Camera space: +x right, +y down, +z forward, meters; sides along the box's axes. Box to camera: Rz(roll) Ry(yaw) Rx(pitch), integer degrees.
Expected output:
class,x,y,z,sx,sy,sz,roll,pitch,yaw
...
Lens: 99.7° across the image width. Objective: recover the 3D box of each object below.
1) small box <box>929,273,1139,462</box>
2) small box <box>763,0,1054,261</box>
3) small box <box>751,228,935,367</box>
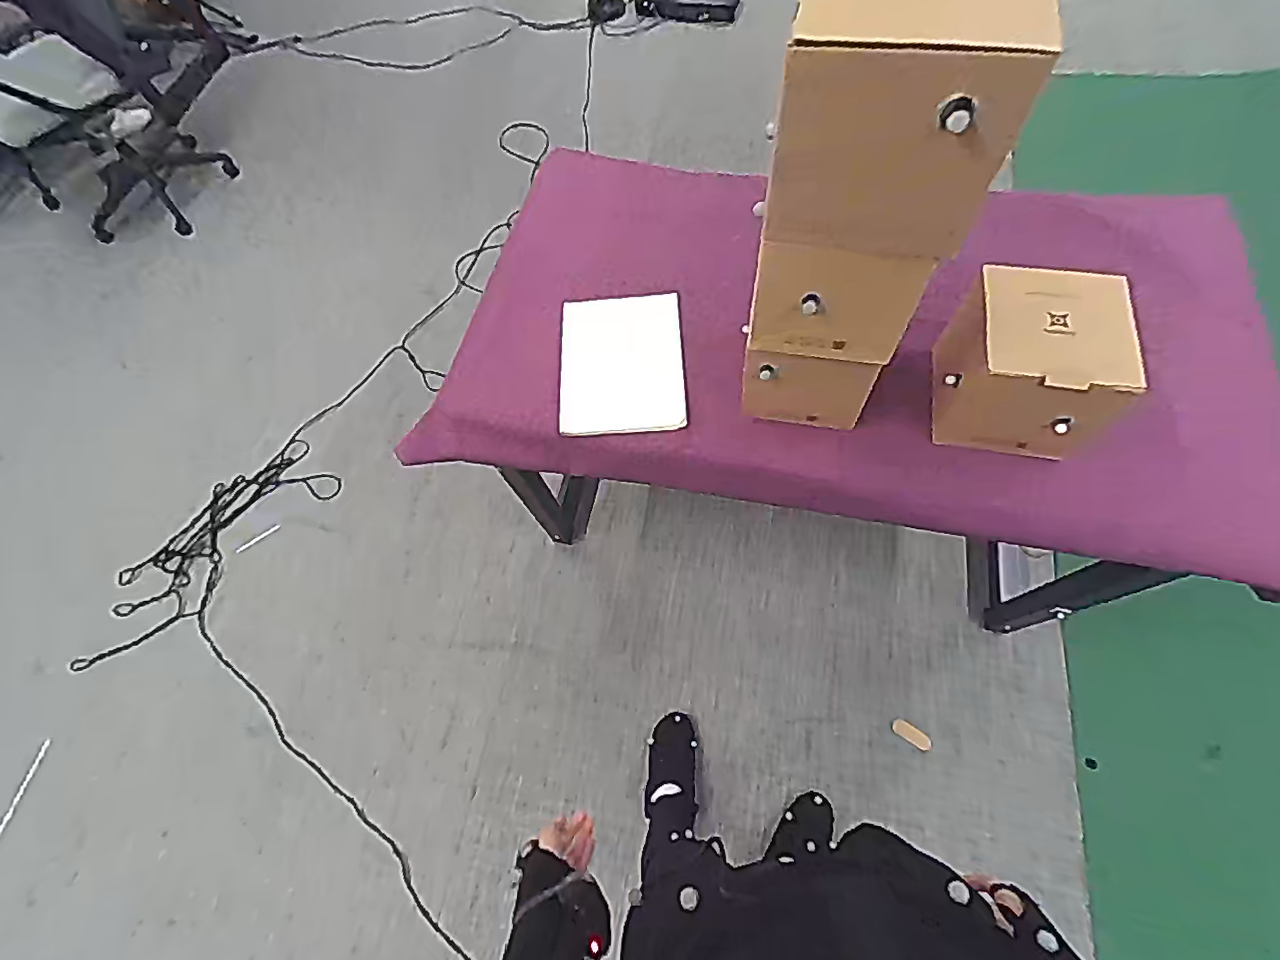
class,x,y,z,sx,sy,sz,roll,pitch,yaw
small box,0.505,-0.143,0.721,0.168,0.176,0.179,10,65,10
small box,0.215,-0.318,0.470,0.179,0.176,0.168,12,65,12
small box,0.224,-0.252,0.622,0.168,0.176,0.179,10,65,11
